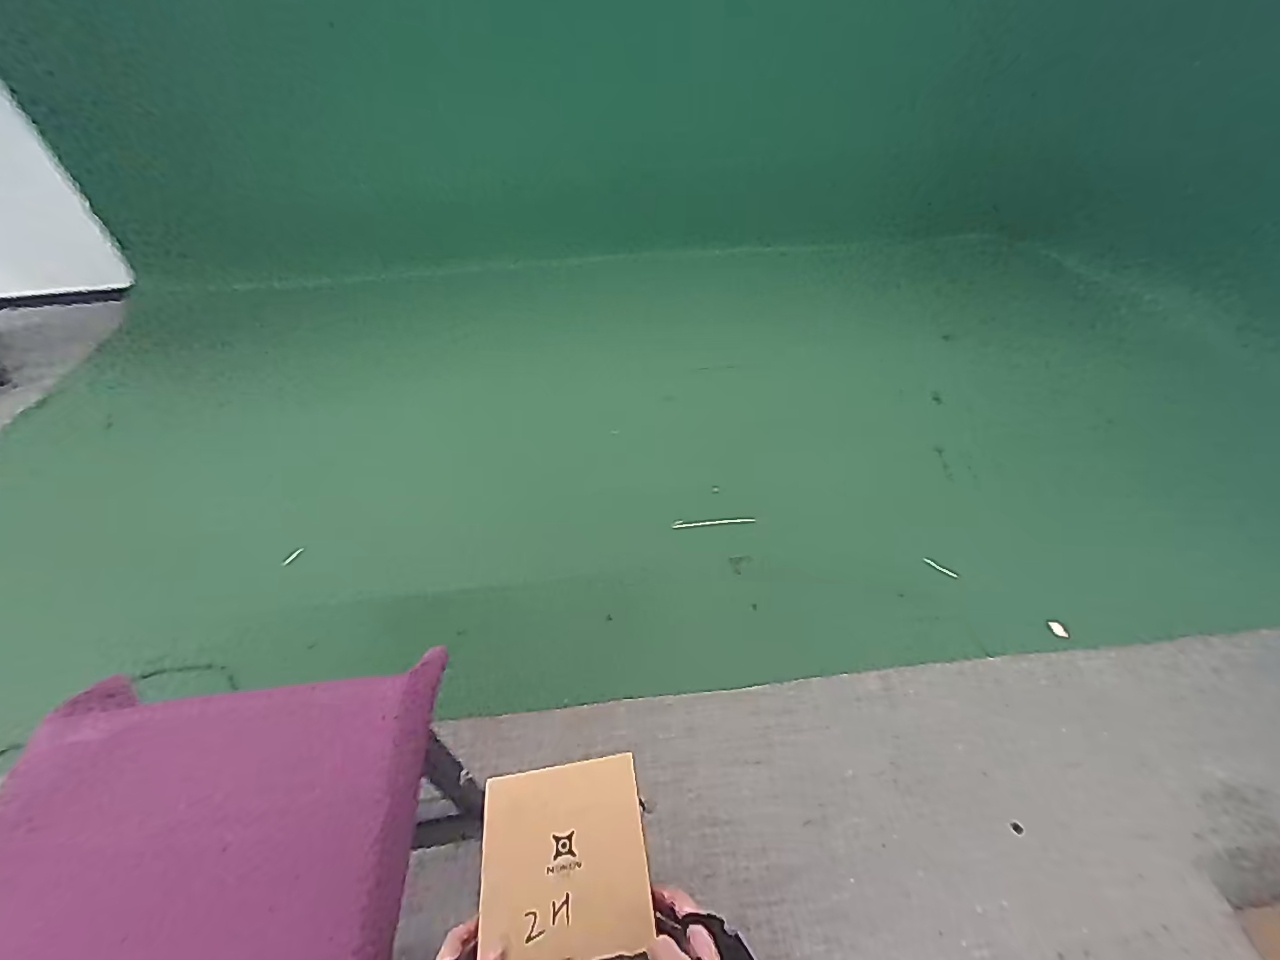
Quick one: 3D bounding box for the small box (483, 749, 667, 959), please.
[{"bbox_3d":[-0.064,0.426,0.592,0.168,0.176,0.179,-8,44,-3],"label":"small box"}]
